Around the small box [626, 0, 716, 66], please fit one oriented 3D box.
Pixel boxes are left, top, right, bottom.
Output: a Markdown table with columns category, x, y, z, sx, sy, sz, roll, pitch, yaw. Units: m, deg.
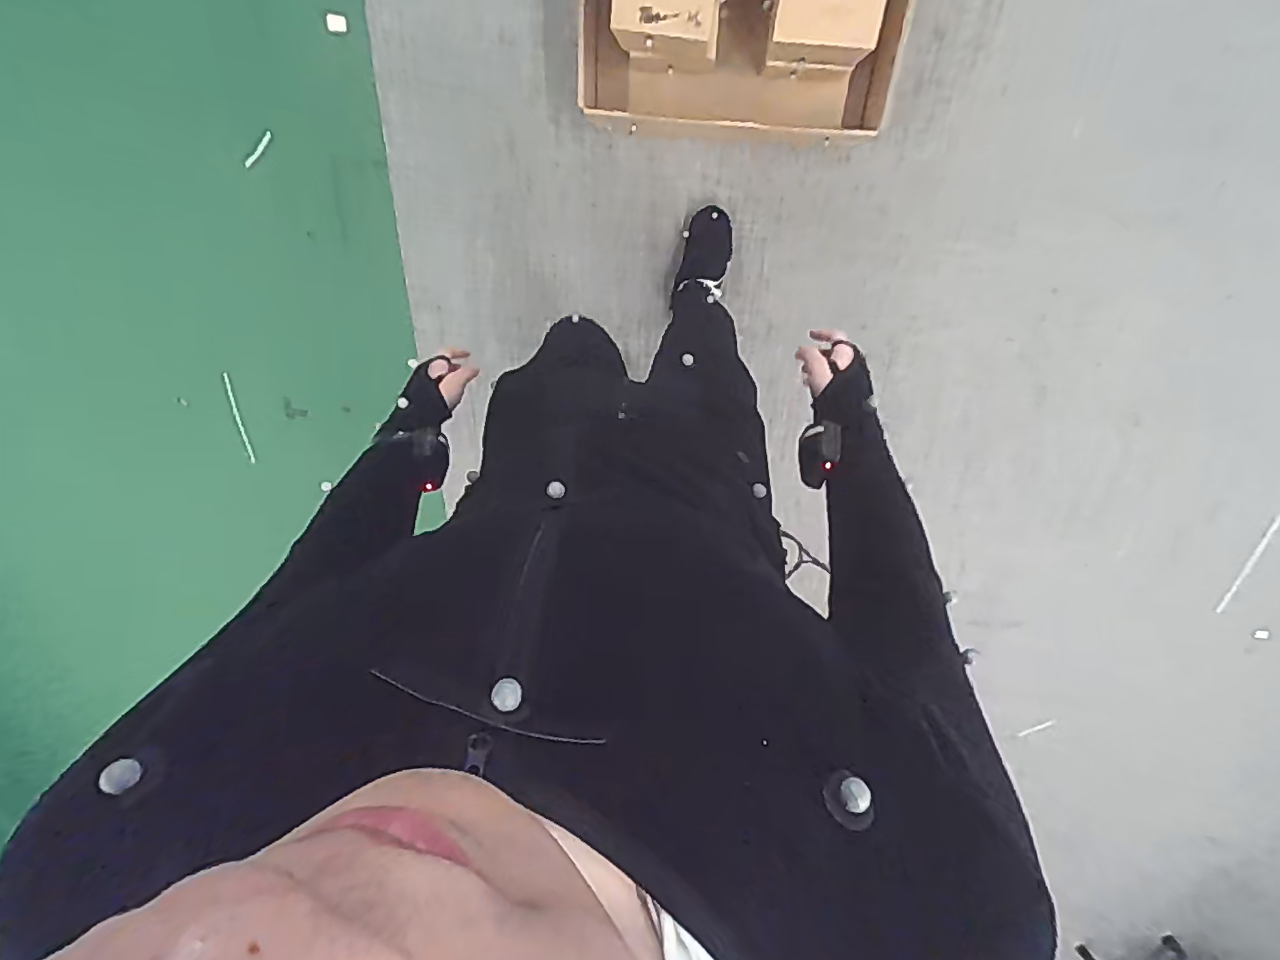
| category | x | y | z | sx | sy | sz | roll | pitch | yaw |
| --- | --- | --- | --- | --- | --- | --- | --- | --- | --- |
| small box | 0.065 | -0.929 | 1.054 | 0.168 | 0.176 | 0.179 | 4 | 120 | 2 |

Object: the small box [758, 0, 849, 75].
| category | x | y | z | sx | sy | sz | roll | pitch | yaw |
| --- | --- | --- | --- | --- | --- | --- | --- | --- | --- |
| small box | 0.326 | -0.903 | 1.043 | 0.168 | 0.176 | 0.179 | 6 | 119 | 4 |

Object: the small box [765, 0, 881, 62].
| category | x | y | z | sx | sy | sz | roll | pitch | yaw |
| --- | --- | --- | --- | --- | --- | --- | --- | --- | --- |
| small box | 0.308 | -0.827 | 0.900 | 0.168 | 0.176 | 0.179 | 8 | 120 | 4 |

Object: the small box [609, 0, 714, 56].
| category | x | y | z | sx | sy | sz | roll | pitch | yaw |
| --- | --- | --- | --- | --- | --- | --- | --- | --- | --- |
| small box | 0.047 | -0.851 | 0.910 | 0.168 | 0.176 | 0.179 | 9 | 119 | 1 |
